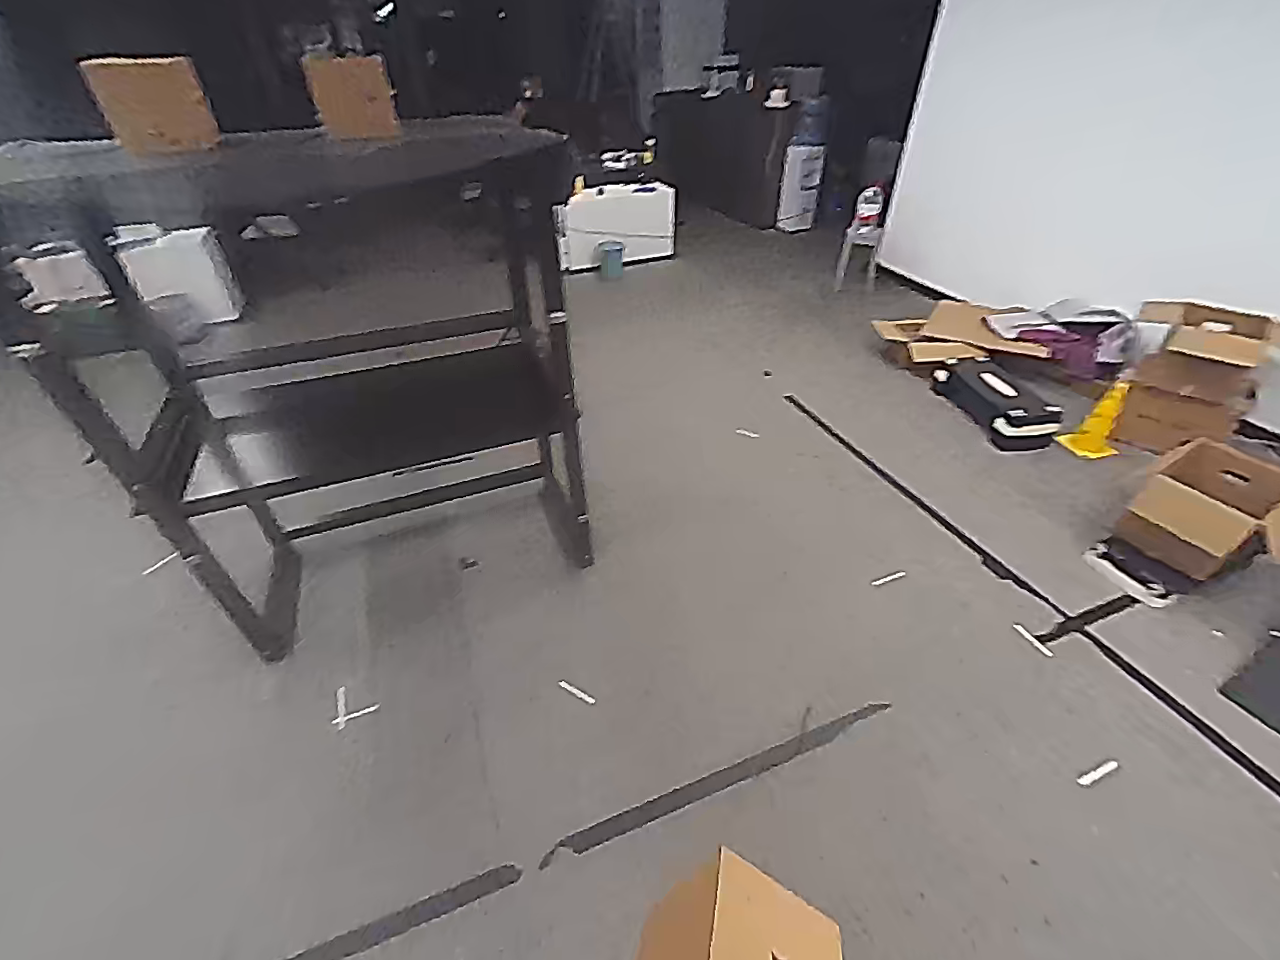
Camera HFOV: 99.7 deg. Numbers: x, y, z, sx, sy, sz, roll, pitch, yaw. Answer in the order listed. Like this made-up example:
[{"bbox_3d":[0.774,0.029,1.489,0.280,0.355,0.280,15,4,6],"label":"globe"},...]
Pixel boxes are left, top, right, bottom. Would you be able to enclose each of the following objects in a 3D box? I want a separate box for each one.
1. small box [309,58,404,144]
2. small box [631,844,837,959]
[{"bbox_3d":[-0.716,-0.975,1.388,0.179,0.176,0.168,-13,40,-15],"label":"small box"},{"bbox_3d":[0.089,0.544,0.566,0.168,0.176,0.179,35,25,-1],"label":"small box"}]
